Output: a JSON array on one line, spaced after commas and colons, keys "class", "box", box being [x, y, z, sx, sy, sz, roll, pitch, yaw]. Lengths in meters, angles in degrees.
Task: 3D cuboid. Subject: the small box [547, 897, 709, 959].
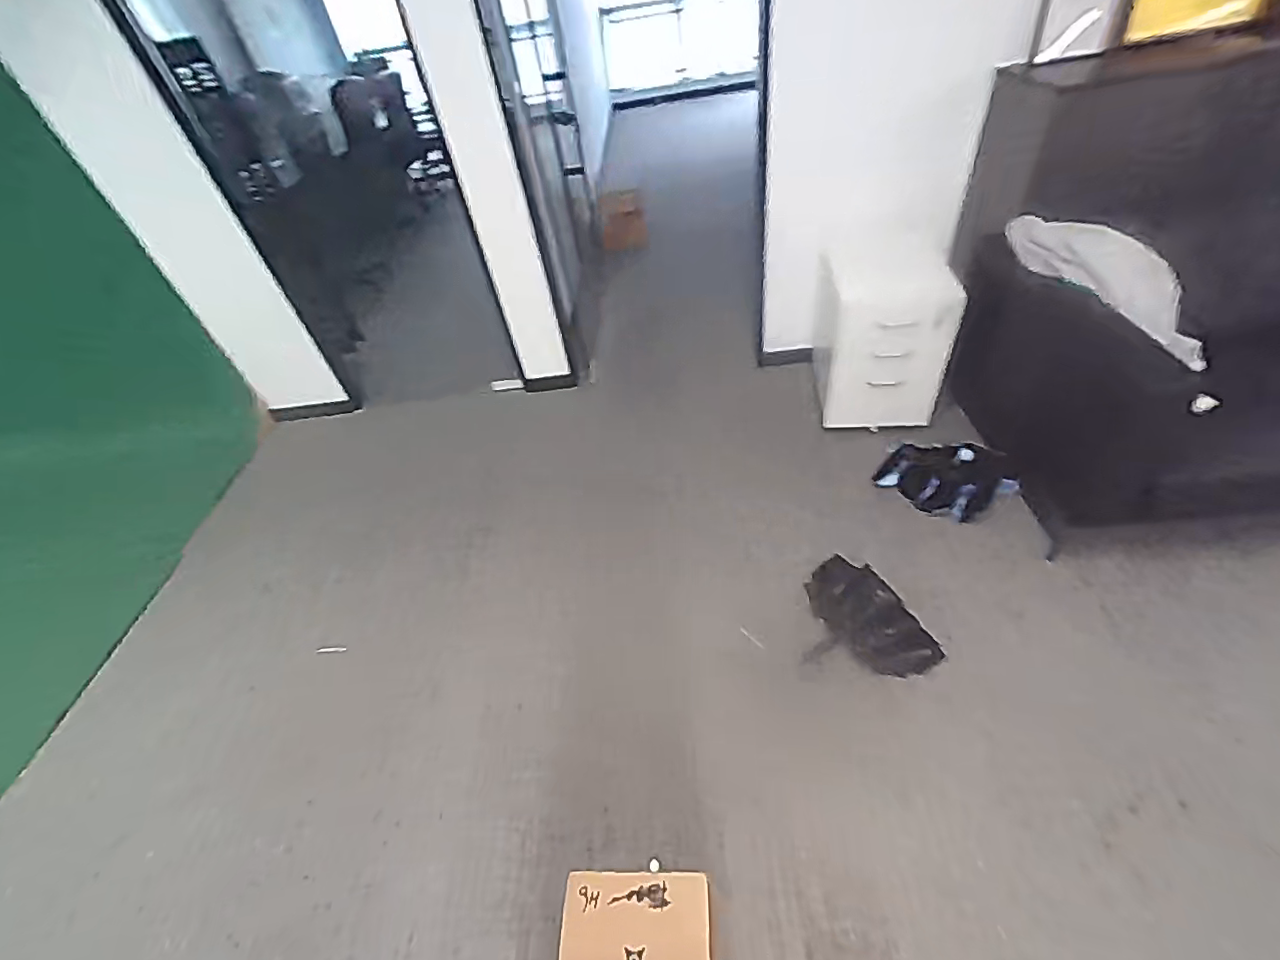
[{"class": "small box", "box": [-0.007, 0.584, 0.606, 0.168, 0.176, 0.179, -6, 47, 7]}]
